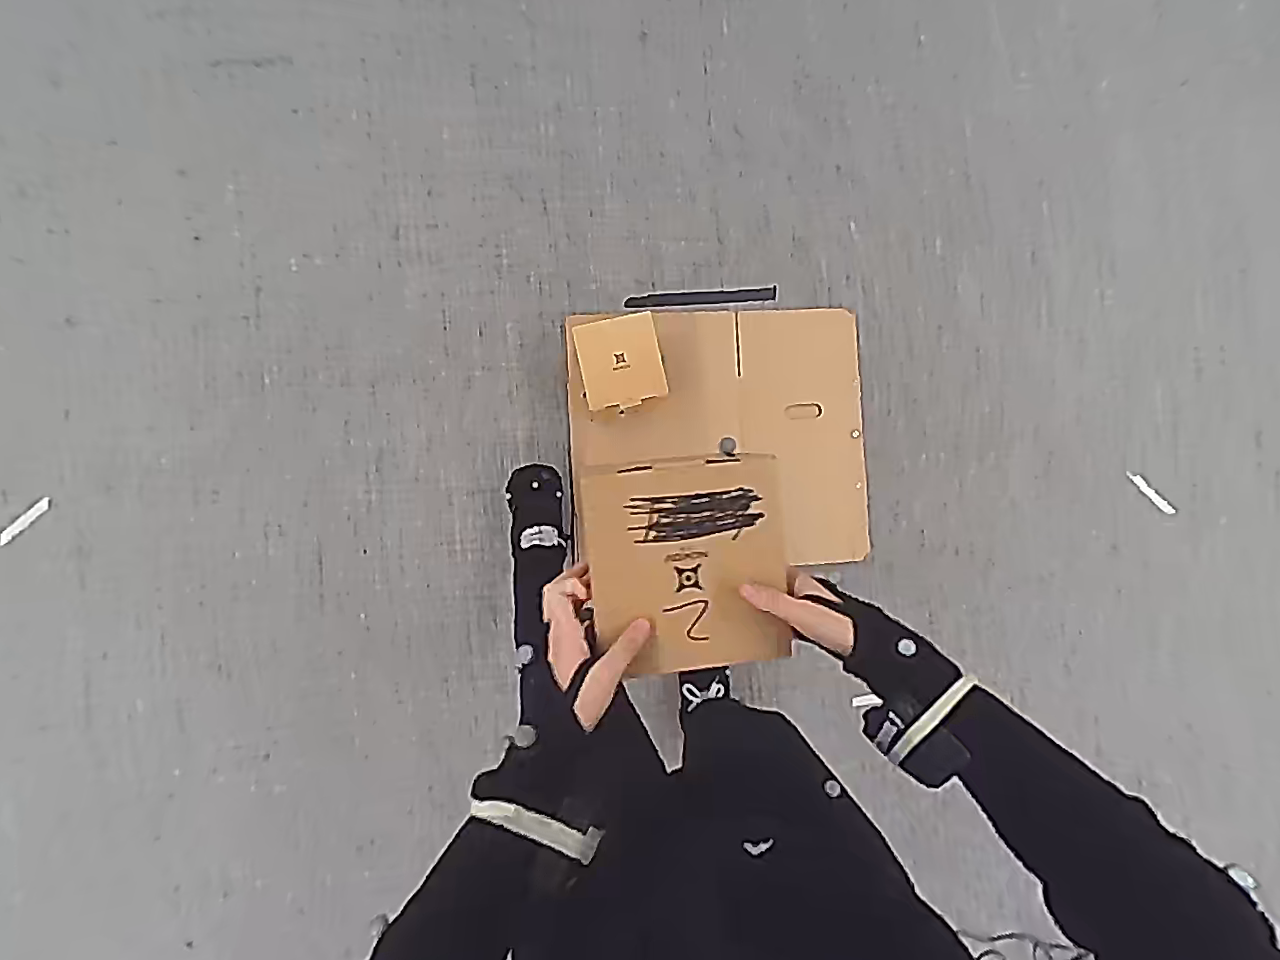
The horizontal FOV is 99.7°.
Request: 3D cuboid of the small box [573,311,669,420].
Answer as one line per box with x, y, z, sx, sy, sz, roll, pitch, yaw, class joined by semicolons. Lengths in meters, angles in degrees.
-0.046;-0.237;1.158;0.168;0.176;0.179;-13;91;-4;small box
